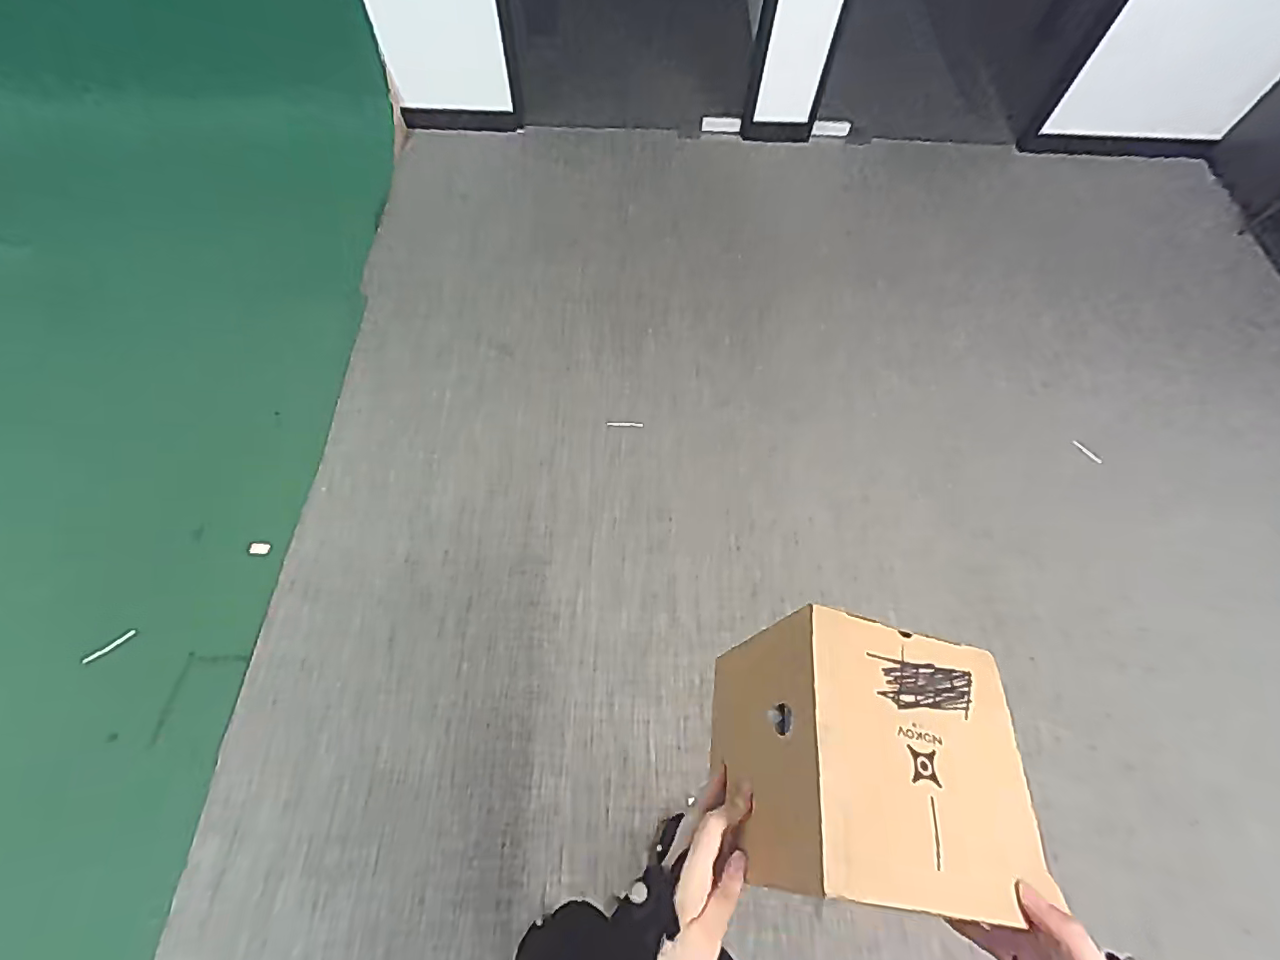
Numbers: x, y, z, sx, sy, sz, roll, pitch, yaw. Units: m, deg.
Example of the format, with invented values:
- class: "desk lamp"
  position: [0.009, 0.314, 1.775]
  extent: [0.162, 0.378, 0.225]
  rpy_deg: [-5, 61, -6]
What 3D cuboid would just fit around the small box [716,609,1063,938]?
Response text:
- class: "small box"
  position: [0.170, 0.229, 0.429]
  extent: [0.168, 0.176, 0.179]
  rpy_deg: [17, 54, -10]
